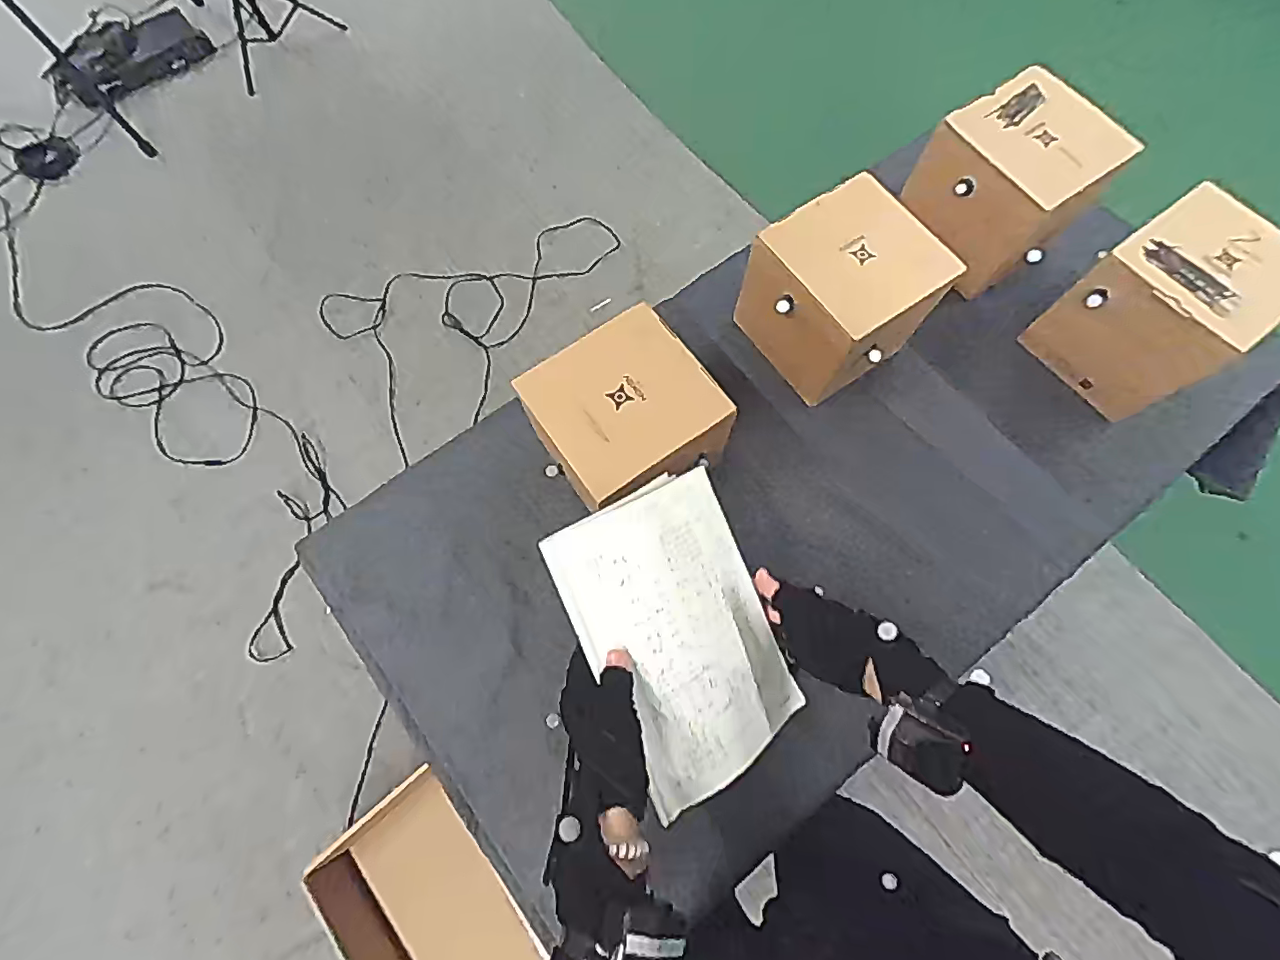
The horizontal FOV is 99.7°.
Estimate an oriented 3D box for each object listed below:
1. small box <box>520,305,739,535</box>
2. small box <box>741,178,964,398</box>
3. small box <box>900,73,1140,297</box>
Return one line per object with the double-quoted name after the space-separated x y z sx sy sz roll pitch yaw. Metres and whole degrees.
-0.013 -0.060 0.634 0.179 0.176 0.168 -34 73 -10 "small box"
0.251 -0.227 0.688 0.168 0.176 0.179 -33 73 -9 "small box"
0.487 -0.389 0.734 0.168 0.176 0.179 -33 74 -9 "small box"
